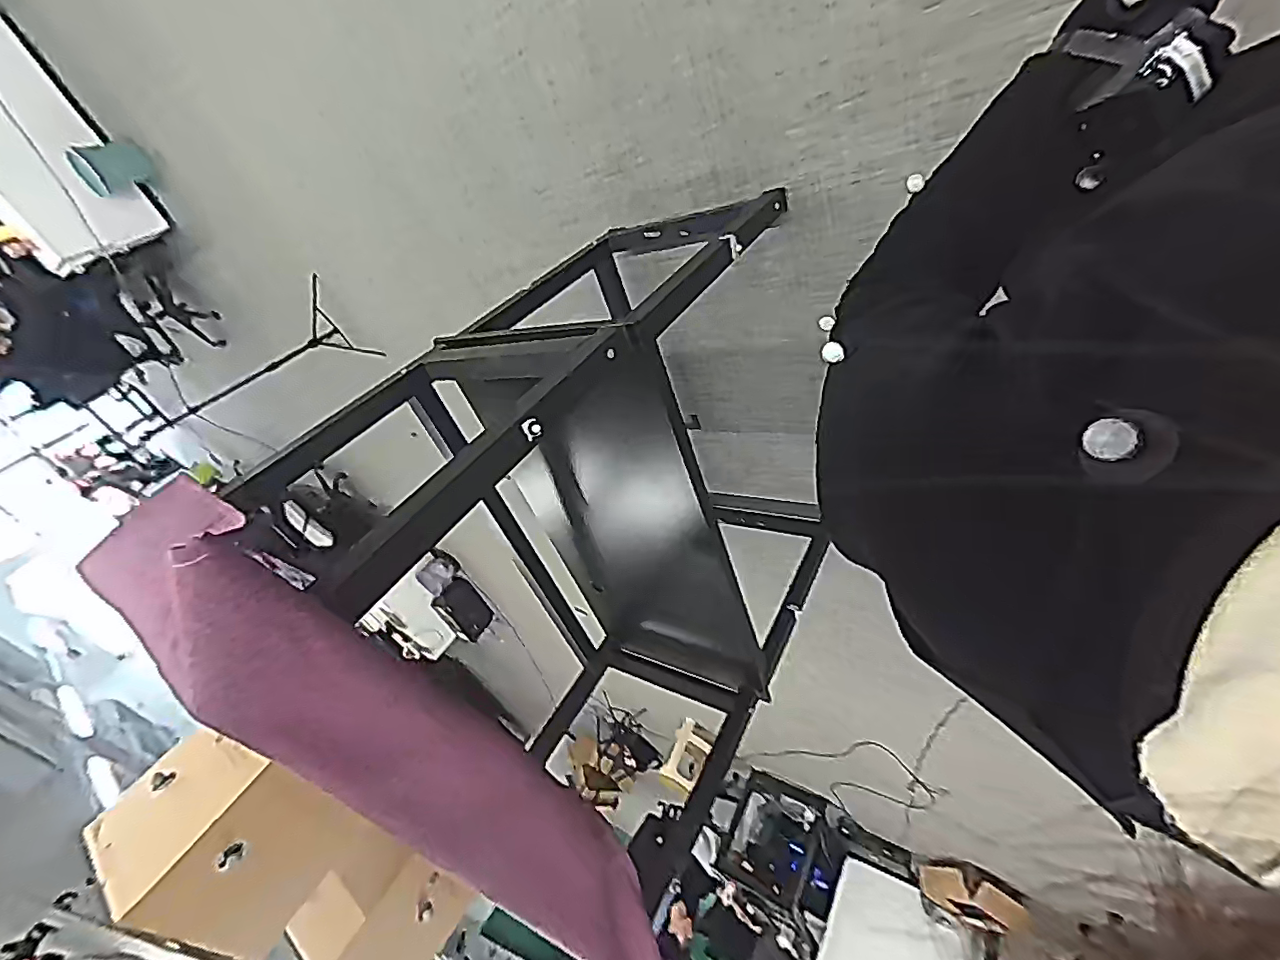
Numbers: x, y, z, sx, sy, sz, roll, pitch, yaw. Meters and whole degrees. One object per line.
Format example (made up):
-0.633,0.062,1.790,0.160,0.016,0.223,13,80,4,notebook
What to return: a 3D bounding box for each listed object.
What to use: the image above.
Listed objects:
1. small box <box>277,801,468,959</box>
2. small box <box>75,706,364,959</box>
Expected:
-0.391,0.608,0.793,0.179,0.176,0.168,6,134,38,small box
-0.470,0.396,0.625,0.168,0.176,0.179,10,138,36,small box
